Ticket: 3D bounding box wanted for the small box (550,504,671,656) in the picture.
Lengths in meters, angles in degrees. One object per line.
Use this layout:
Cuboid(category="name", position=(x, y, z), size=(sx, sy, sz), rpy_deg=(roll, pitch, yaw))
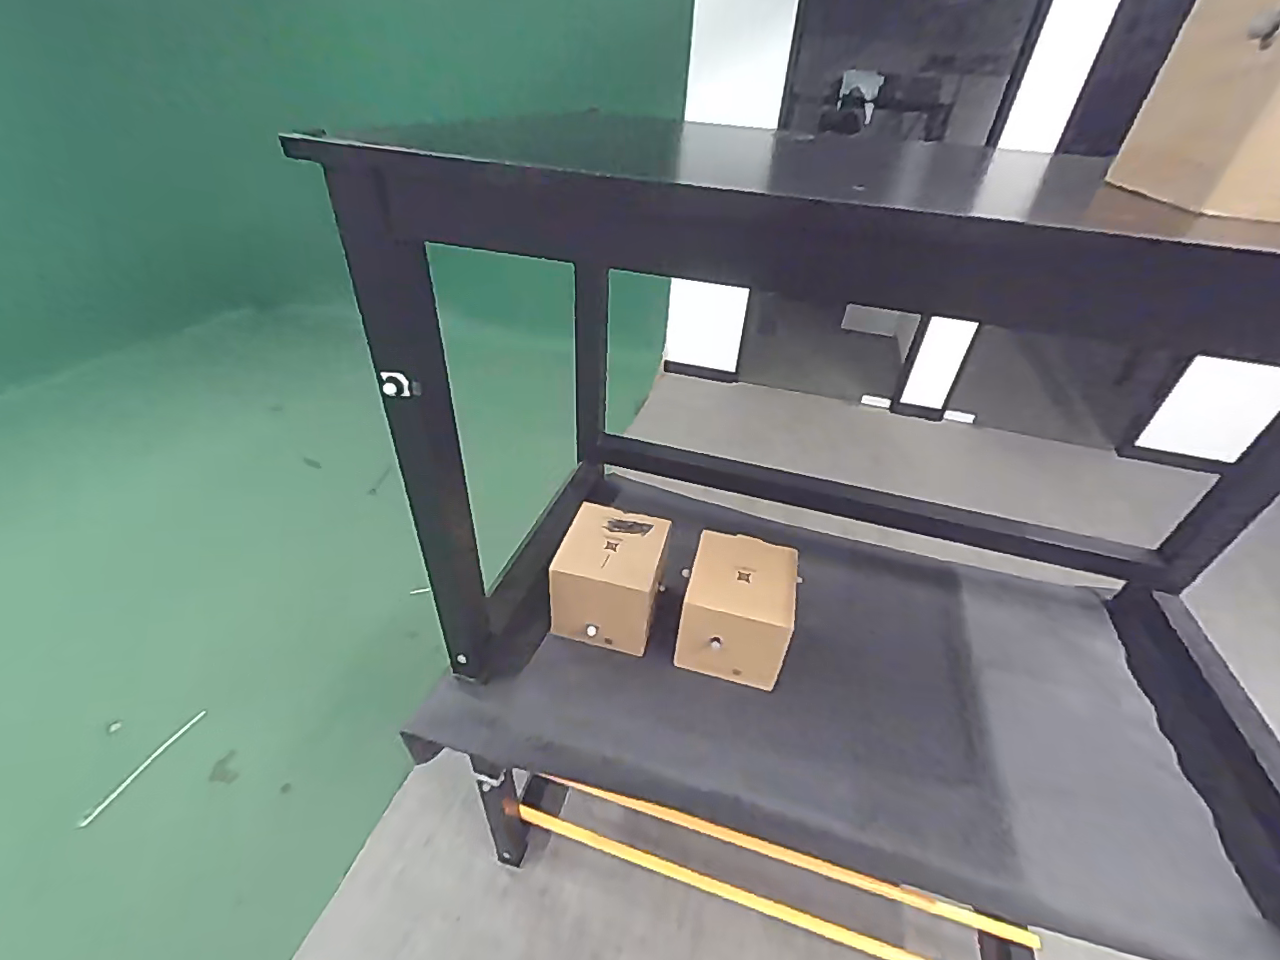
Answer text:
Cuboid(category="small box", position=(-0.049, 0.172, 0.945), size=(0.168, 0.176, 0.179), rpy_deg=(11, 37, 10))
